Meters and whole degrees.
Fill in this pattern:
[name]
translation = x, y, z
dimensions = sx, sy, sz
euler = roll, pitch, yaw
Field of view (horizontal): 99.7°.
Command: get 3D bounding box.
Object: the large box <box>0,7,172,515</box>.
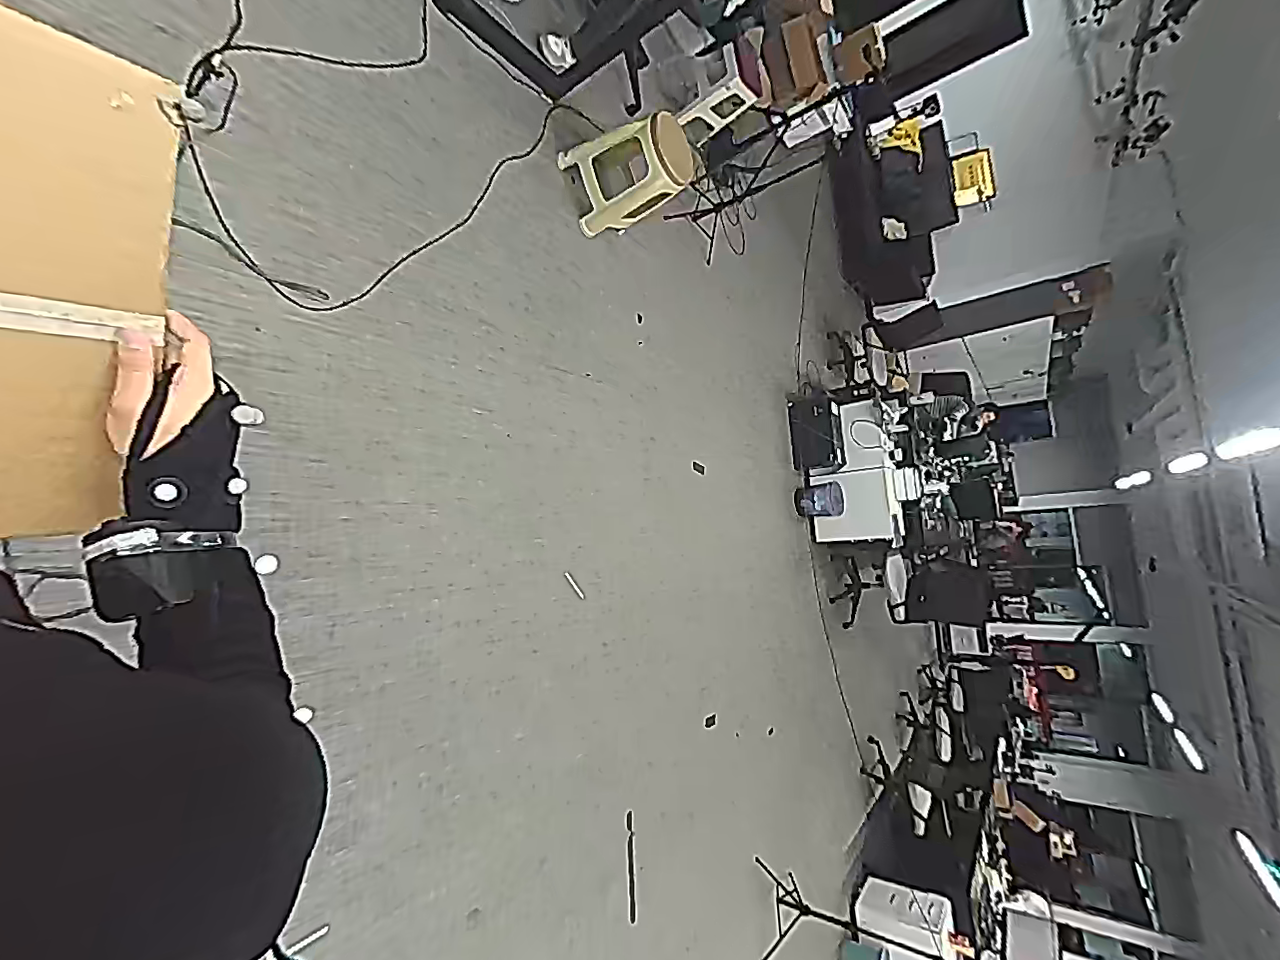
[large box]
translation = -0.576, -0.169, 0.301
dimensions = 0.408, 0.320, 0.320
euler = -5, 120, -56
